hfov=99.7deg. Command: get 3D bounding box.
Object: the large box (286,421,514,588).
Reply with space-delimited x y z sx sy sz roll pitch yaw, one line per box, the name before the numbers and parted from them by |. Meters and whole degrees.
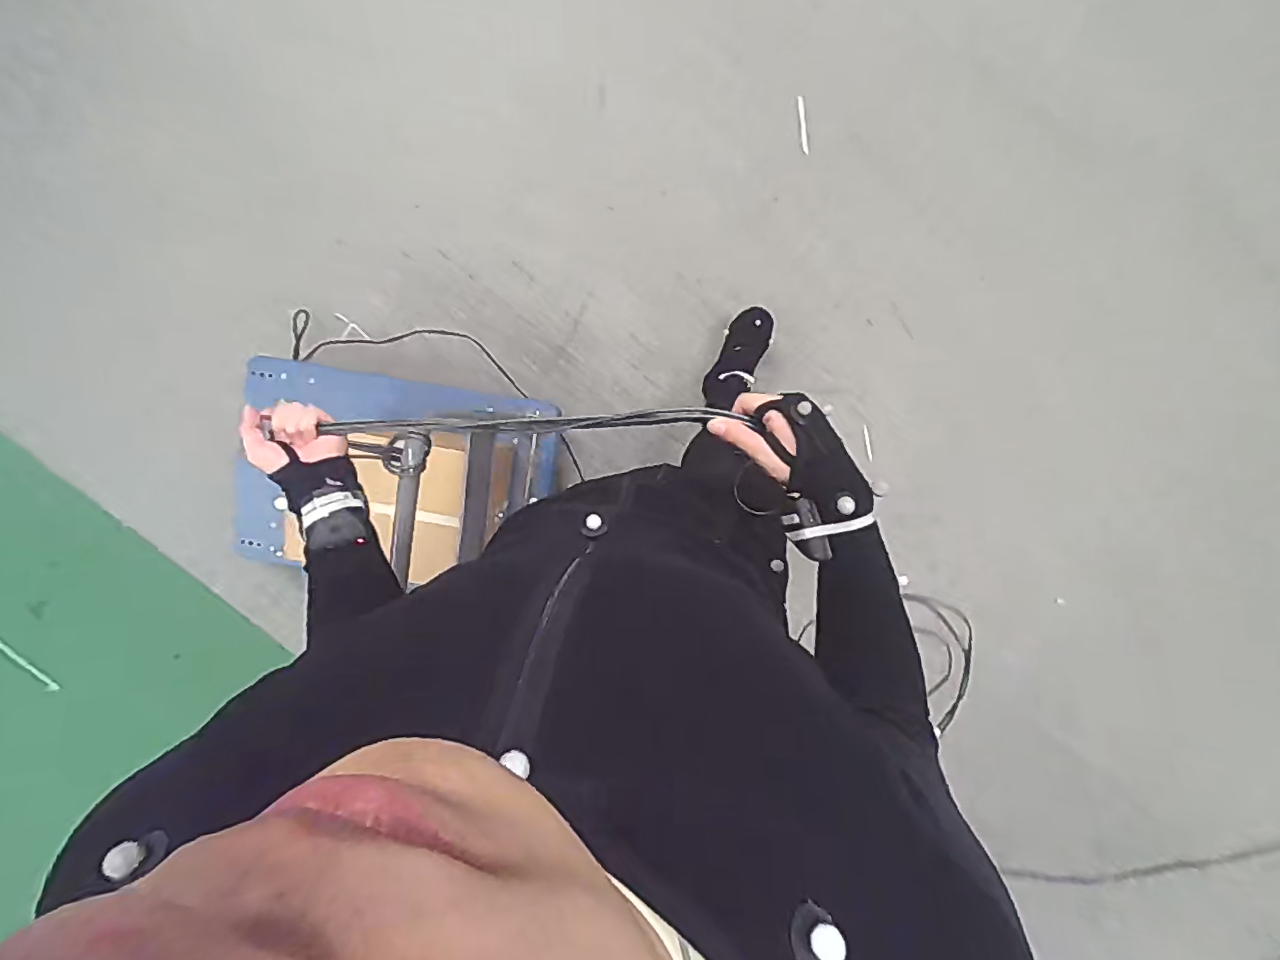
large box | -0.560 0.040 1.319 0.408 0.320 0.320 10 97 4
